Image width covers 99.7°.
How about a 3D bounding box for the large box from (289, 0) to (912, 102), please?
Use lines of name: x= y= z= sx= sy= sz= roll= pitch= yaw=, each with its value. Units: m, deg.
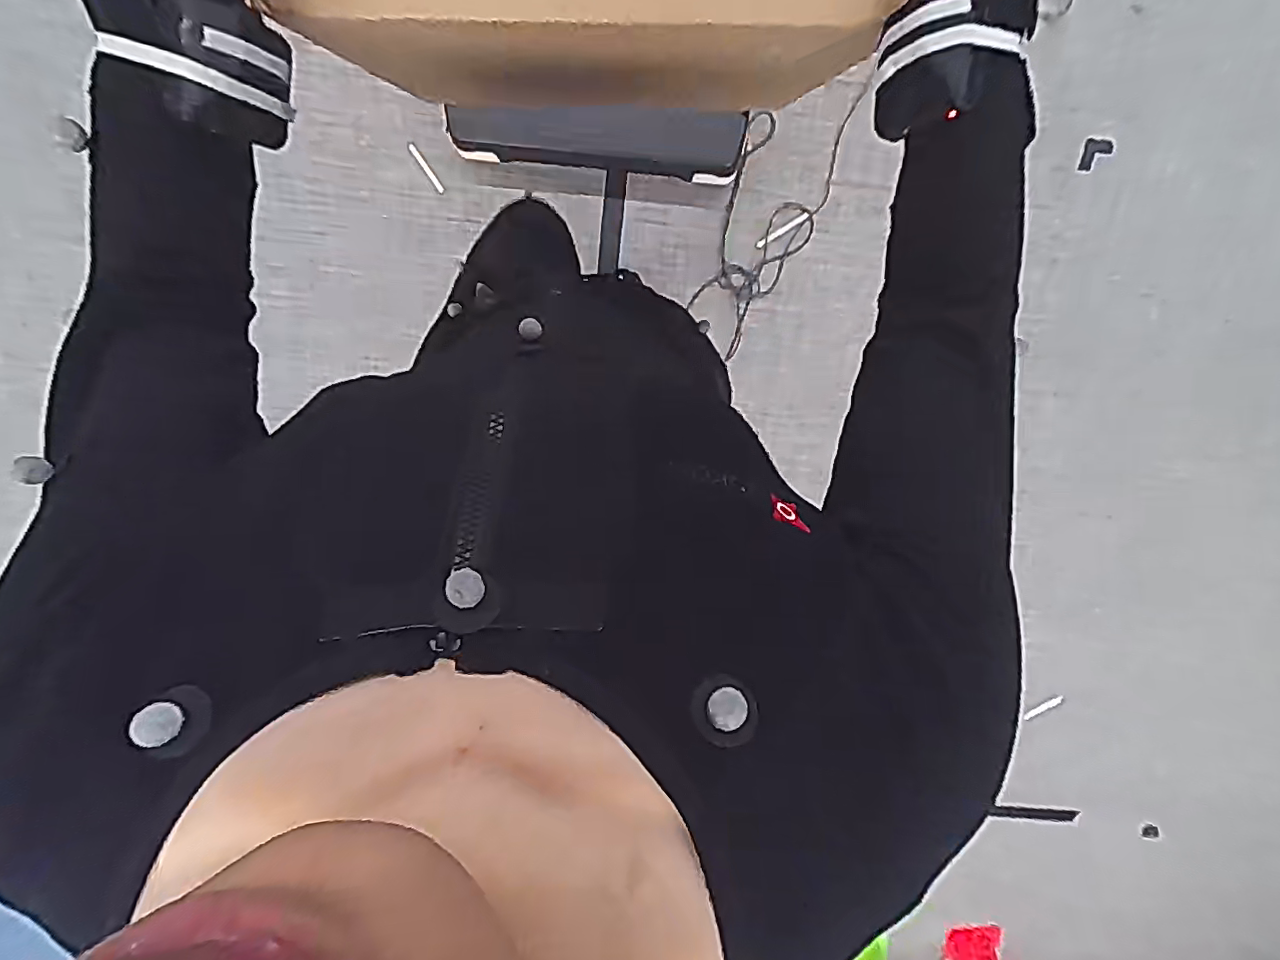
large box: x=-0.030 y=-0.496 z=0.401 sx=0.408 sy=0.320 sz=0.320 roll=-1 pitch=117 yaw=-2
